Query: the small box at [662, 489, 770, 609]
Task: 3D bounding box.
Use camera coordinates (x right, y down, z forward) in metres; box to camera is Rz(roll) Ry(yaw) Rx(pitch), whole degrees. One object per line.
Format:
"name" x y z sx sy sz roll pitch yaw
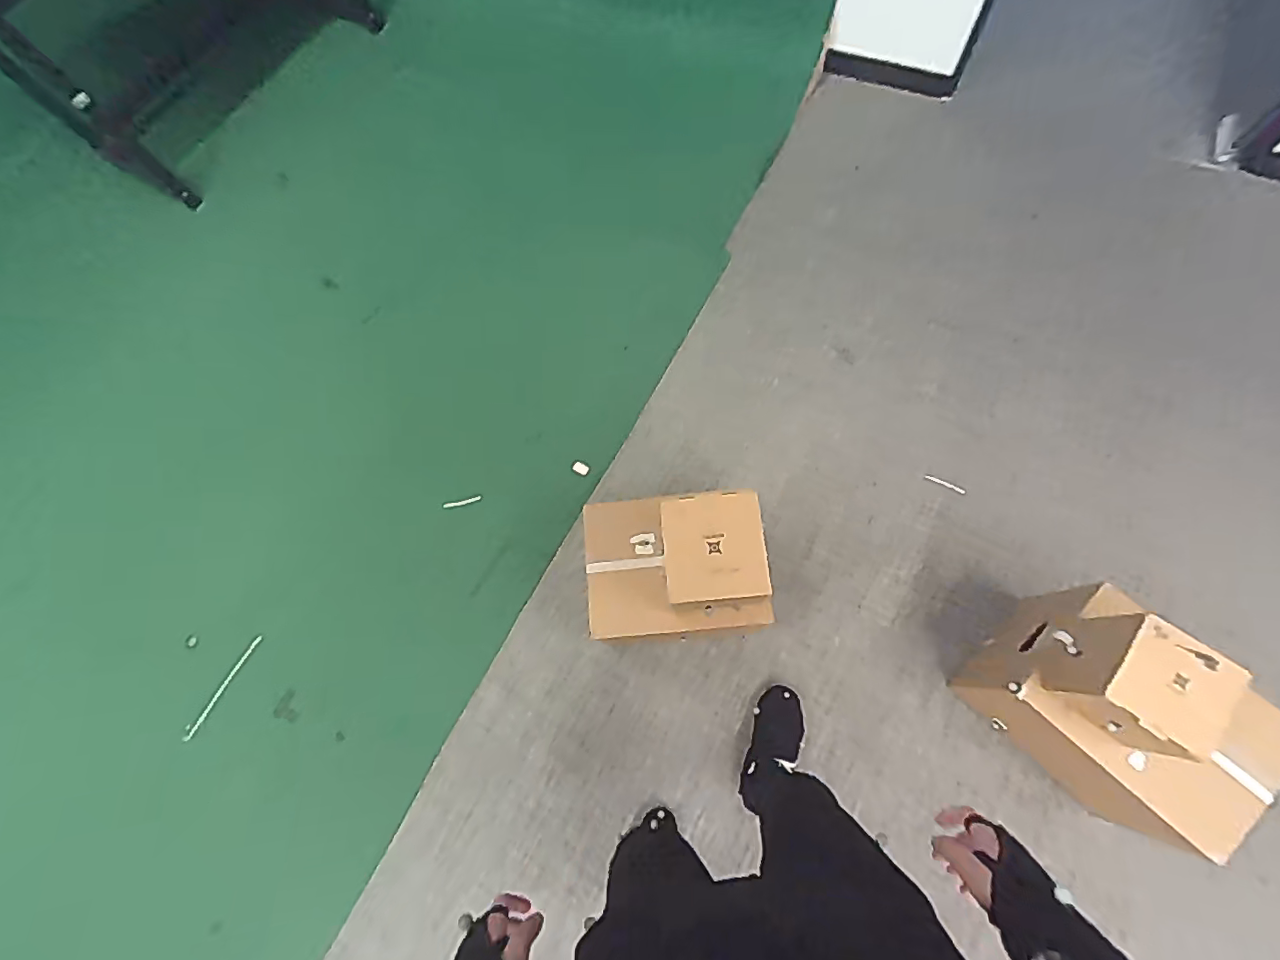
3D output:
"small box" 0.128 0.128 0.954 0.168 0.176 0.179 -5 72 5

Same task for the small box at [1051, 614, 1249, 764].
"small box" 0.887 0.363 0.964 0.168 0.176 0.179 37 80 16

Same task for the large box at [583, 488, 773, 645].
"large box" 0.093 0.232 1.357 0.408 0.320 0.320 -7 69 5
